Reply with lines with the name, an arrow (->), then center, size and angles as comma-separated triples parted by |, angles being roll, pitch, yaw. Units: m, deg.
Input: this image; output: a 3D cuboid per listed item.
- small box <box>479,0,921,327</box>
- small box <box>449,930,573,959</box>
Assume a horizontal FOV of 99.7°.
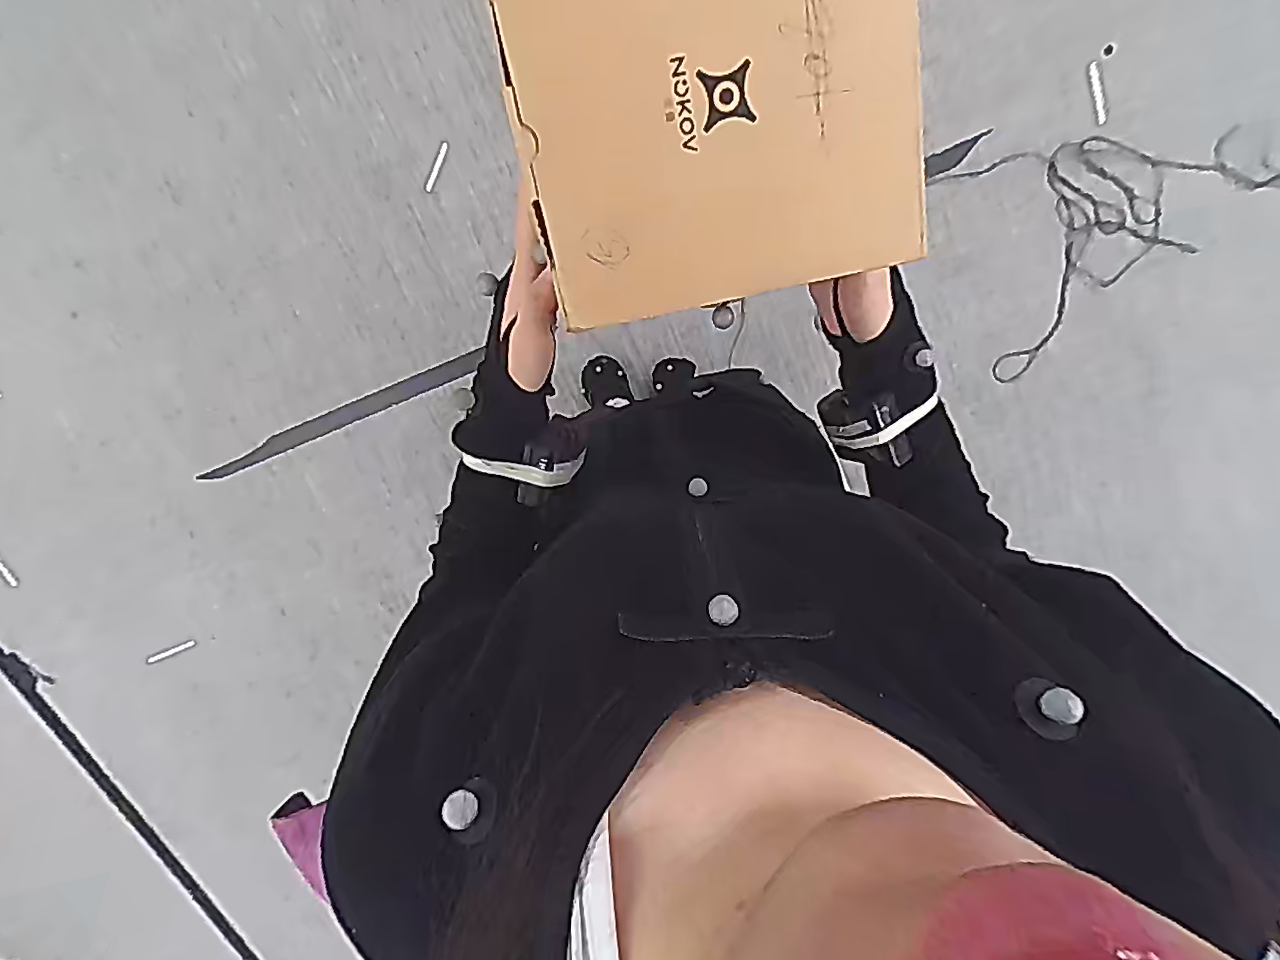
small box -> 0.029, -0.187, 0.308 | 0.179, 0.176, 0.168 | -12, 108, 2
small box -> -0.156, 0.714, 0.664 | 0.168, 0.176, 0.179 | -18, 104, 2
